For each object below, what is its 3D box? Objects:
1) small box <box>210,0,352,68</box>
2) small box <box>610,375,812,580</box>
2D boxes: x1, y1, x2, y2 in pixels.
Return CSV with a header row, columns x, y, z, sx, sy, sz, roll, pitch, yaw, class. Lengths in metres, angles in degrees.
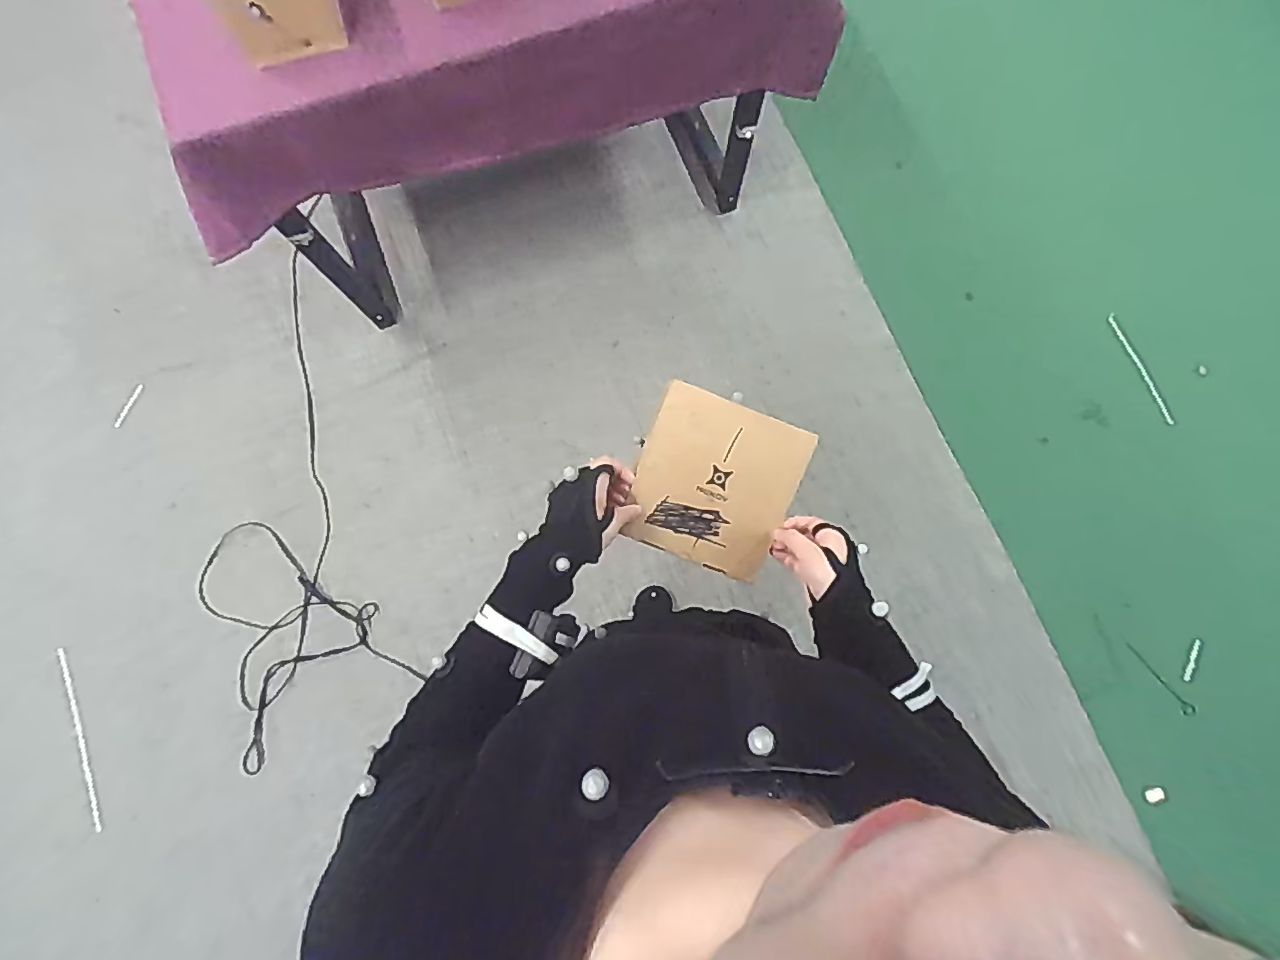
x,y,z,sx,sy,sz,roll,pitch,yaw,class
-0.611,-0.834,0.902,0.168,0.176,0.179,-17,78,-3,small box
0.075,-0.011,0.644,0.168,0.176,0.179,21,98,-3,small box
